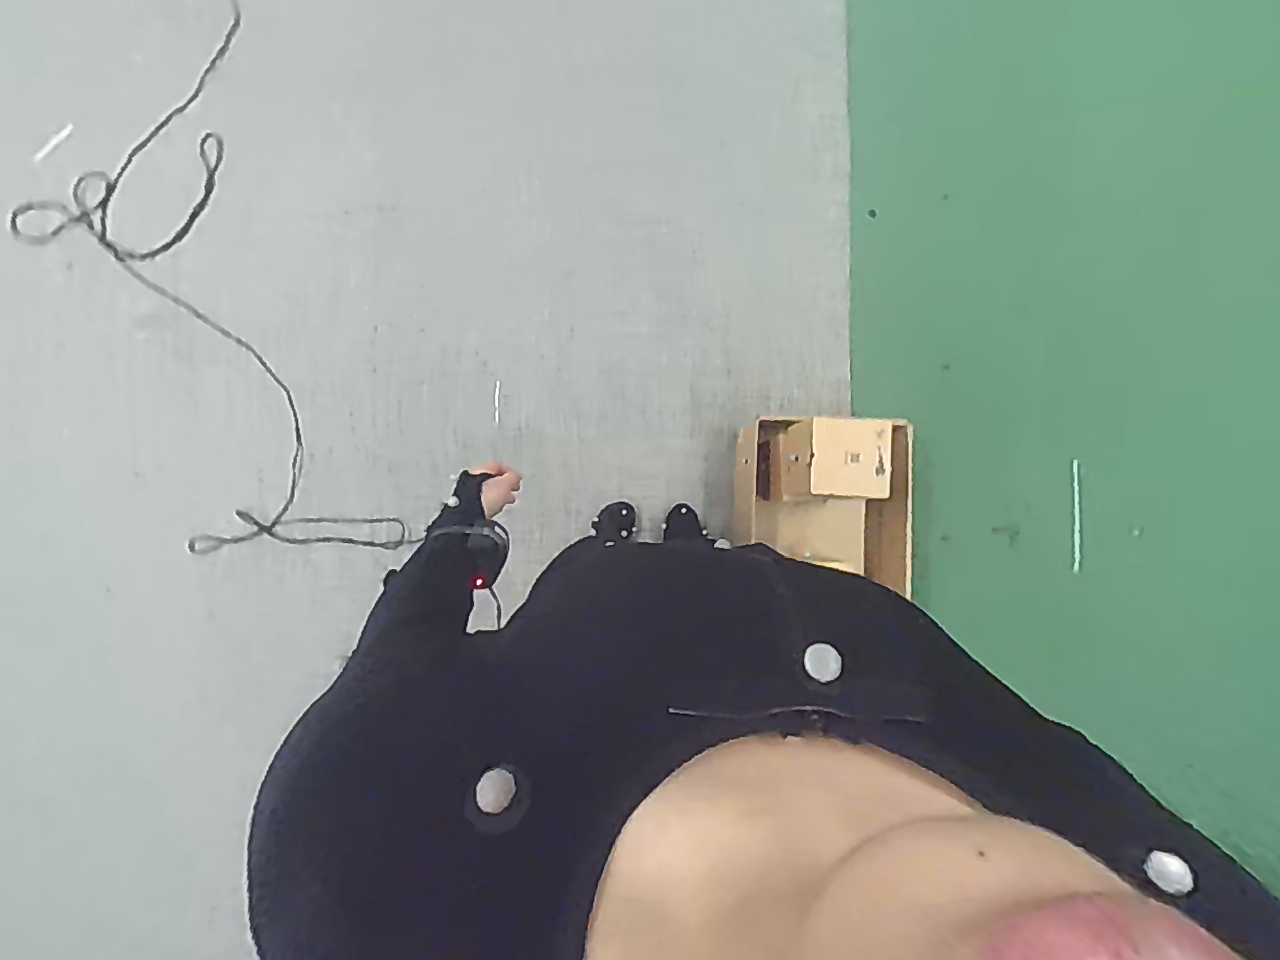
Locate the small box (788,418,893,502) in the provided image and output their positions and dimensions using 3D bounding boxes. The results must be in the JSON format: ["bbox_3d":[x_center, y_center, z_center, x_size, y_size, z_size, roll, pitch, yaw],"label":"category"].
[{"bbox_3d":[0.442,-0.039,1.216,0.179,0.176,0.168,4,88,-1],"label":"small box"}]

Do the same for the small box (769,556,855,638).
[{"bbox_3d":[0.429,0.291,1.367,0.168,0.176,0.179,2,87,-1],"label":"small box"}]
